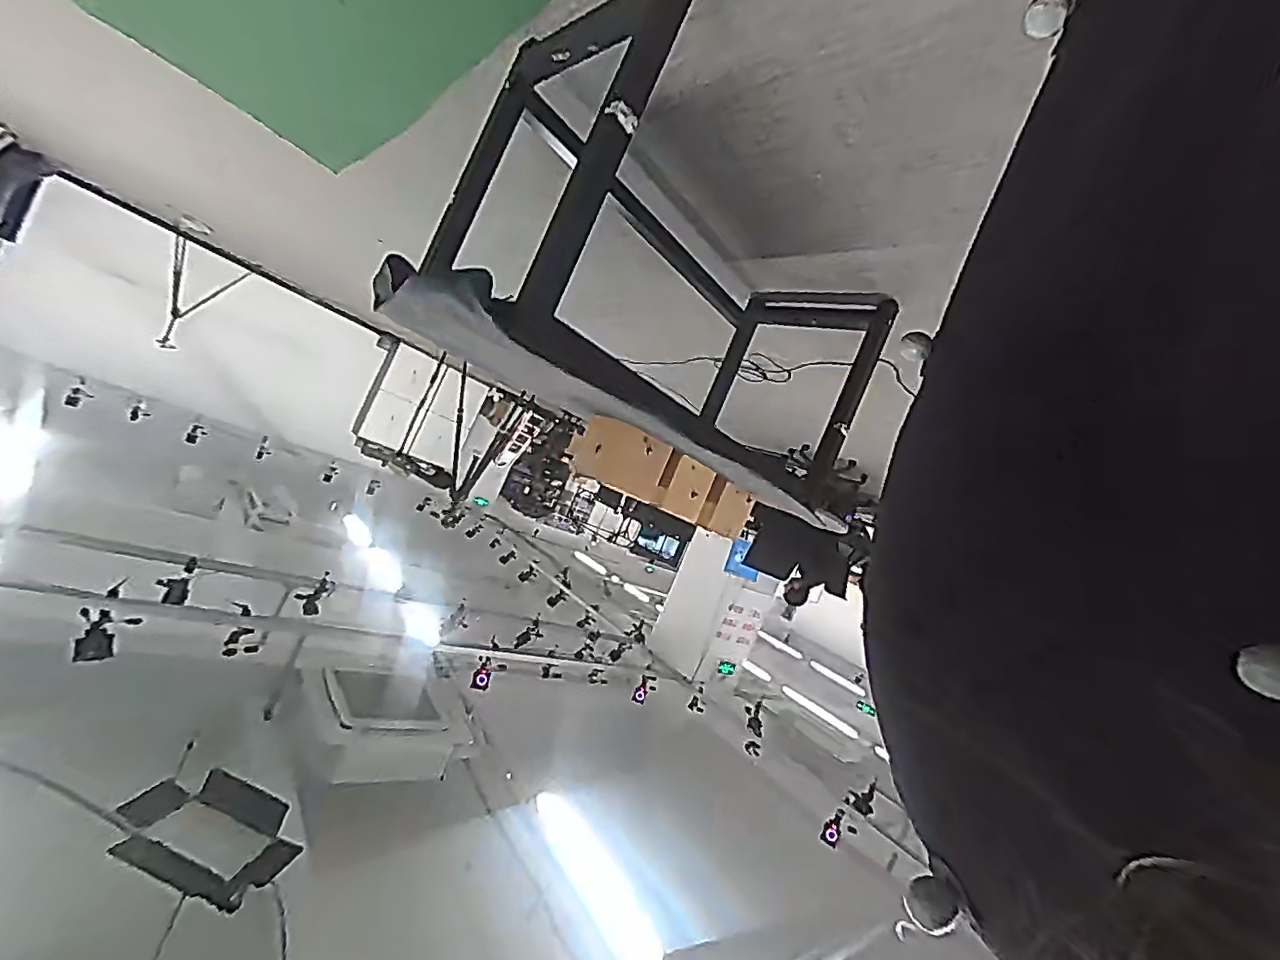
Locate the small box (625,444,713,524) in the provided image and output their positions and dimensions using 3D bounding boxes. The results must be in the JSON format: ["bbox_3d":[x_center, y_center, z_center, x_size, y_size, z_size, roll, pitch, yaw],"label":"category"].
[{"bbox_3d":[0.091,0.007,1.576,0.168,0.176,0.179,26,178,-43],"label":"small box"}]

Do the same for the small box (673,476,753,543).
[{"bbox_3d":[0.241,0.082,1.742,0.168,0.176,0.179,26,178,-40],"label":"small box"}]
